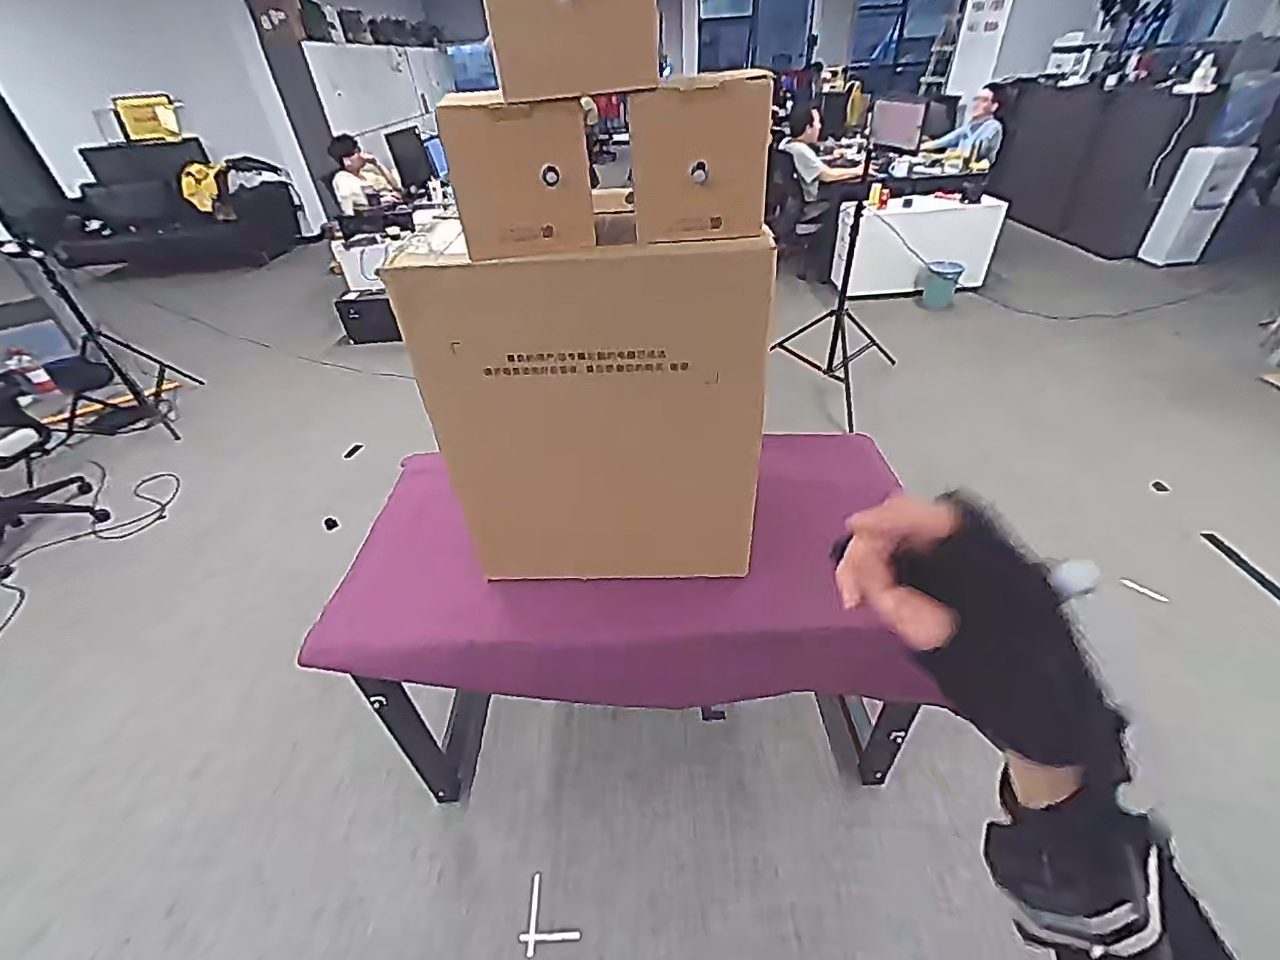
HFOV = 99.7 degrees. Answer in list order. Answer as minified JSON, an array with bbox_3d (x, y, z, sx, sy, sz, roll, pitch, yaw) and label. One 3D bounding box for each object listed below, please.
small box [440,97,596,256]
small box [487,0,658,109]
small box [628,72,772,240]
[{"bbox_3d":[-0.154,-0.407,0.723,0.168,0.176,0.179,-9,38,-7],"label":"small box"},{"bbox_3d":[-0.074,-0.535,0.610,0.179,0.176,0.168,-8,40,-1],"label":"small box"},{"bbox_3d":[0.077,-0.428,0.722,0.168,0.176,0.179,-1,40,4],"label":"small box"}]
